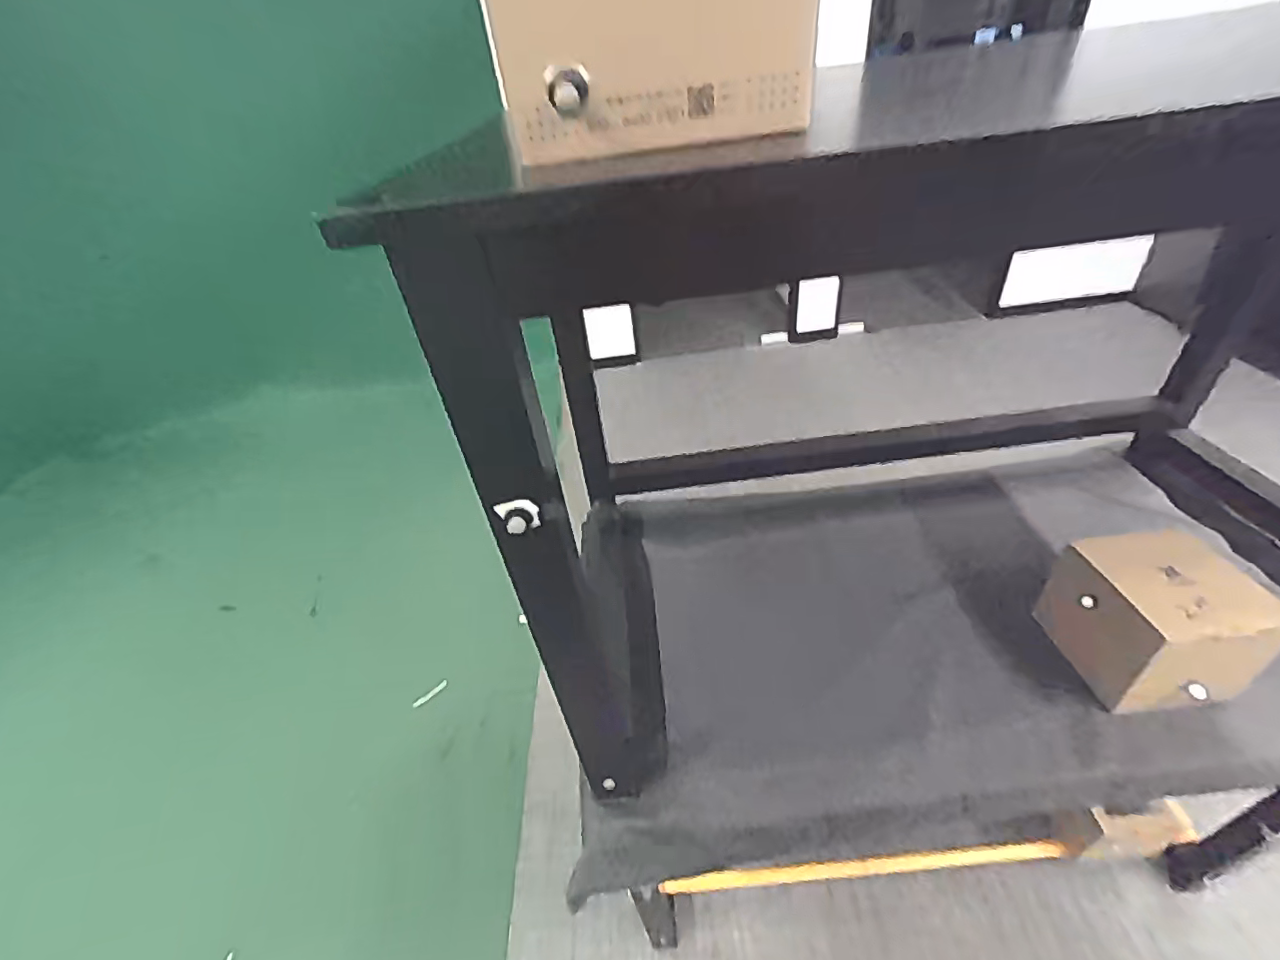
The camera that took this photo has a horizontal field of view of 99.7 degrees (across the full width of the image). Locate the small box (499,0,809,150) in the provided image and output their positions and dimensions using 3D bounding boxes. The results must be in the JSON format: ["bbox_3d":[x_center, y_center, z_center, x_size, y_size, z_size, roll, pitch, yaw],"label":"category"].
[{"bbox_3d":[0.002,-0.311,0.329,0.168,0.176,0.179,-7,37,0],"label":"small box"}]

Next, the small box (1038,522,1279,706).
[{"bbox_3d":[0.710,0.186,0.759,0.168,0.176,0.179,-8,37,1],"label":"small box"}]
